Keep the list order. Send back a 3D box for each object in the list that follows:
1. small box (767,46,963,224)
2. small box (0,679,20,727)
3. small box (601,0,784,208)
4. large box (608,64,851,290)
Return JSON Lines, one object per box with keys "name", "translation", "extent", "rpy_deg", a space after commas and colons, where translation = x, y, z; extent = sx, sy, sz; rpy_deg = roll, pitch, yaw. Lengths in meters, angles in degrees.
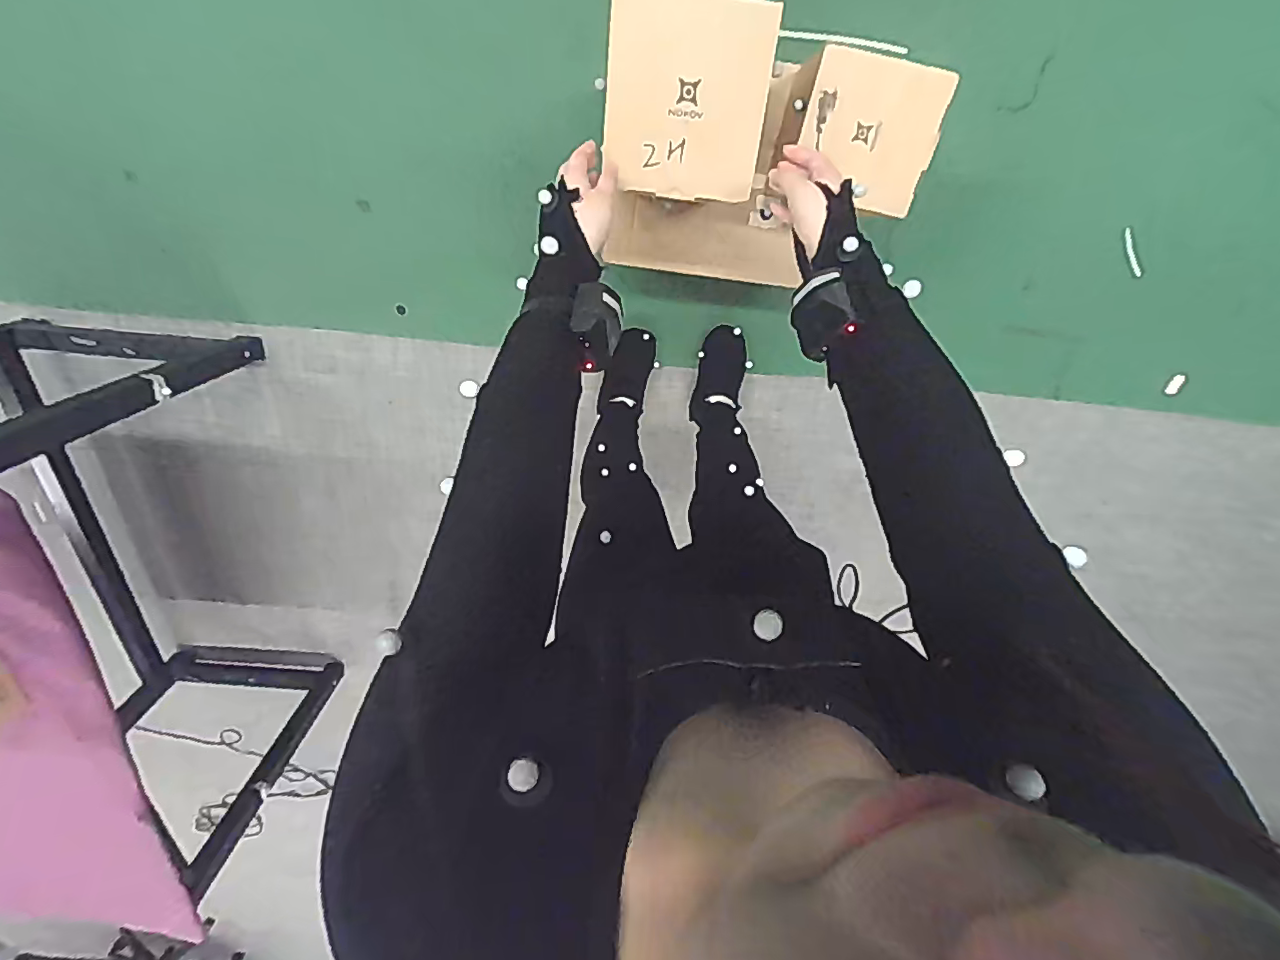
{"name": "small box", "translation": [0.297, -0.471, 0.760], "extent": [0.179, 0.176, 0.168], "rpy_deg": [11, 117, -4]}
{"name": "small box", "translation": [-1.075, 0.340, 0.764], "extent": [0.179, 0.176, 0.168], "rpy_deg": [5, 118, -1]}
{"name": "small box", "translation": [0.048, -0.417, 0.614], "extent": [0.168, 0.176, 0.179], "rpy_deg": [6, 118, -1]}
{"name": "large box", "translation": [0.156, -0.553, 1.000], "extent": [0.408, 0.320, 0.320], "rpy_deg": [6, 119, -2]}
